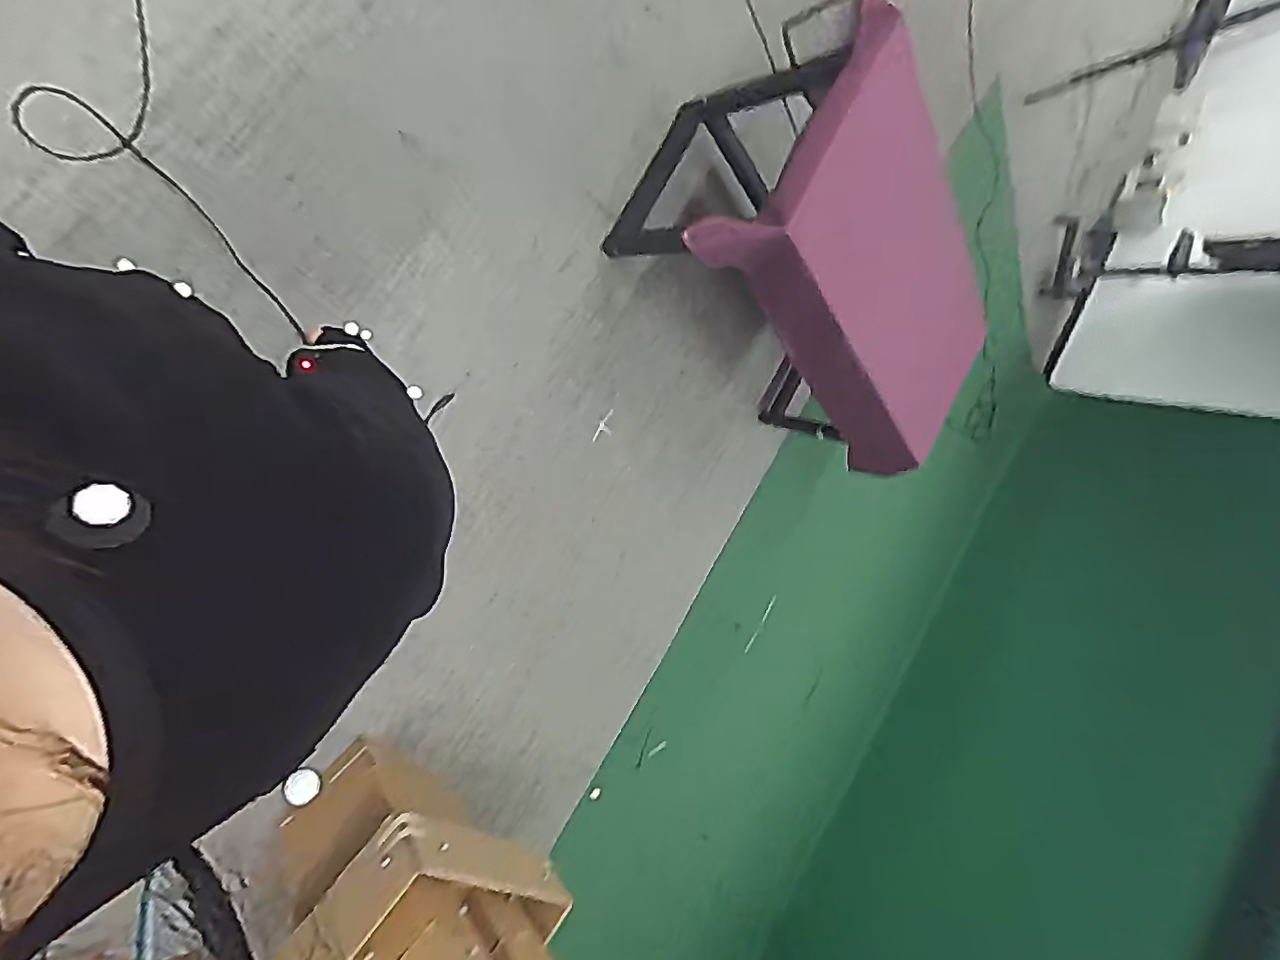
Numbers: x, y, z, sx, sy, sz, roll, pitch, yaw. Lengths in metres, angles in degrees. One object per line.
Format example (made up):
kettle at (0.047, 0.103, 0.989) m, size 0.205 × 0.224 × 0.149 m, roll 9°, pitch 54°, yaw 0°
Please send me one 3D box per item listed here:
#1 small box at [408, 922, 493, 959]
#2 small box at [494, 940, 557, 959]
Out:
small box at (-0.404, 1.076, 1.123) m, size 0.179 × 0.176 × 0.168 m, roll -46°, pitch 129°, yaw -20°
small box at (-0.279, 1.258, 1.299) m, size 0.168 × 0.176 × 0.179 m, roll -51°, pitch 130°, yaw -15°
